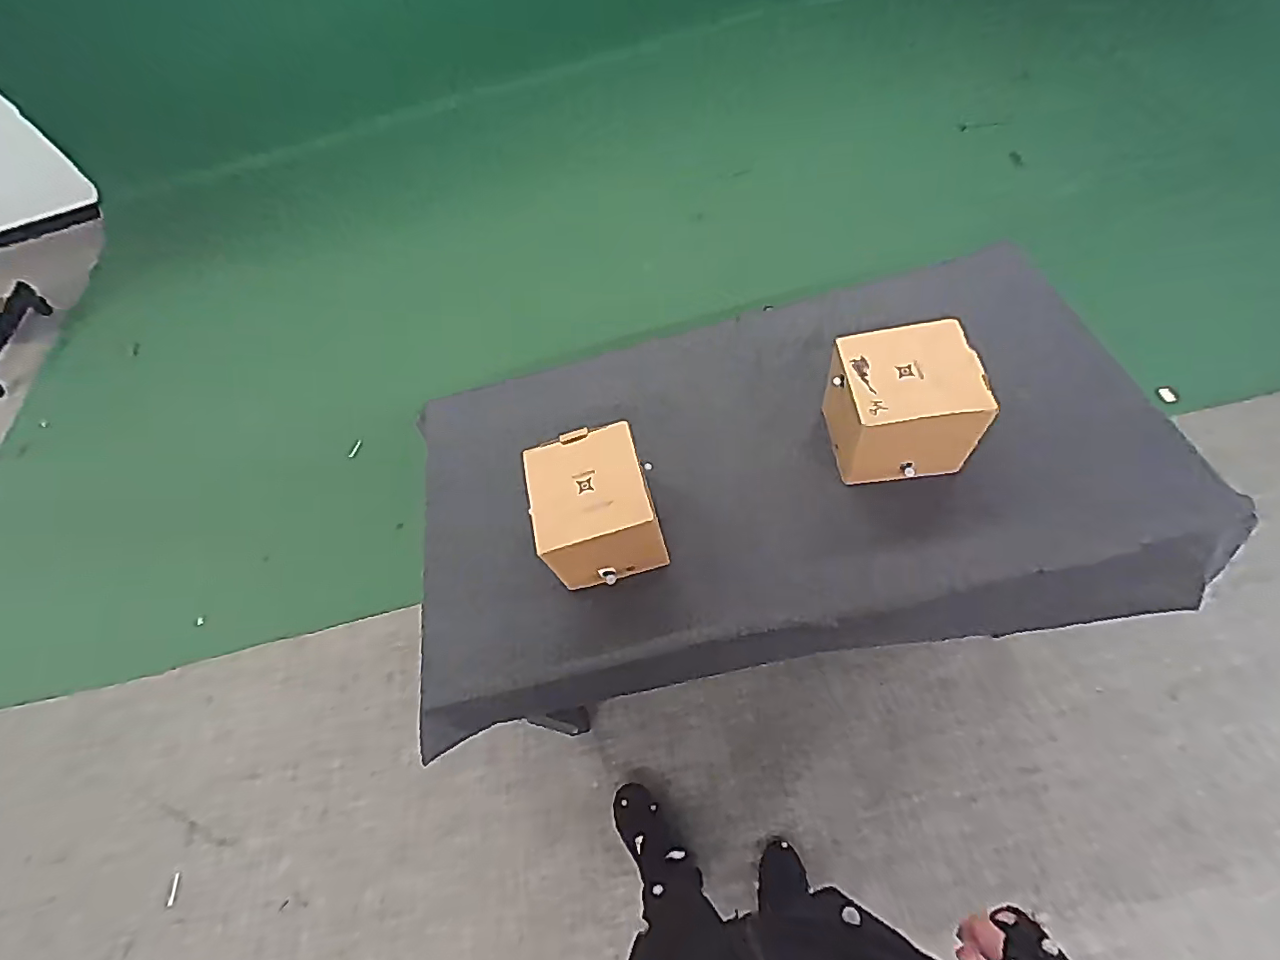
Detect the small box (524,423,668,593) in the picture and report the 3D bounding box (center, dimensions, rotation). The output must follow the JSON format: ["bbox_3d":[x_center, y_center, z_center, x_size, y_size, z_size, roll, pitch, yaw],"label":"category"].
[{"bbox_3d":[-0.063,0.047,0.816,0.168,0.176,0.179,-16,58,4],"label":"small box"}]

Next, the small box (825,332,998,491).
[{"bbox_3d":[0.398,-0.098,0.828,0.179,0.176,0.168,-6,59,7],"label":"small box"}]
